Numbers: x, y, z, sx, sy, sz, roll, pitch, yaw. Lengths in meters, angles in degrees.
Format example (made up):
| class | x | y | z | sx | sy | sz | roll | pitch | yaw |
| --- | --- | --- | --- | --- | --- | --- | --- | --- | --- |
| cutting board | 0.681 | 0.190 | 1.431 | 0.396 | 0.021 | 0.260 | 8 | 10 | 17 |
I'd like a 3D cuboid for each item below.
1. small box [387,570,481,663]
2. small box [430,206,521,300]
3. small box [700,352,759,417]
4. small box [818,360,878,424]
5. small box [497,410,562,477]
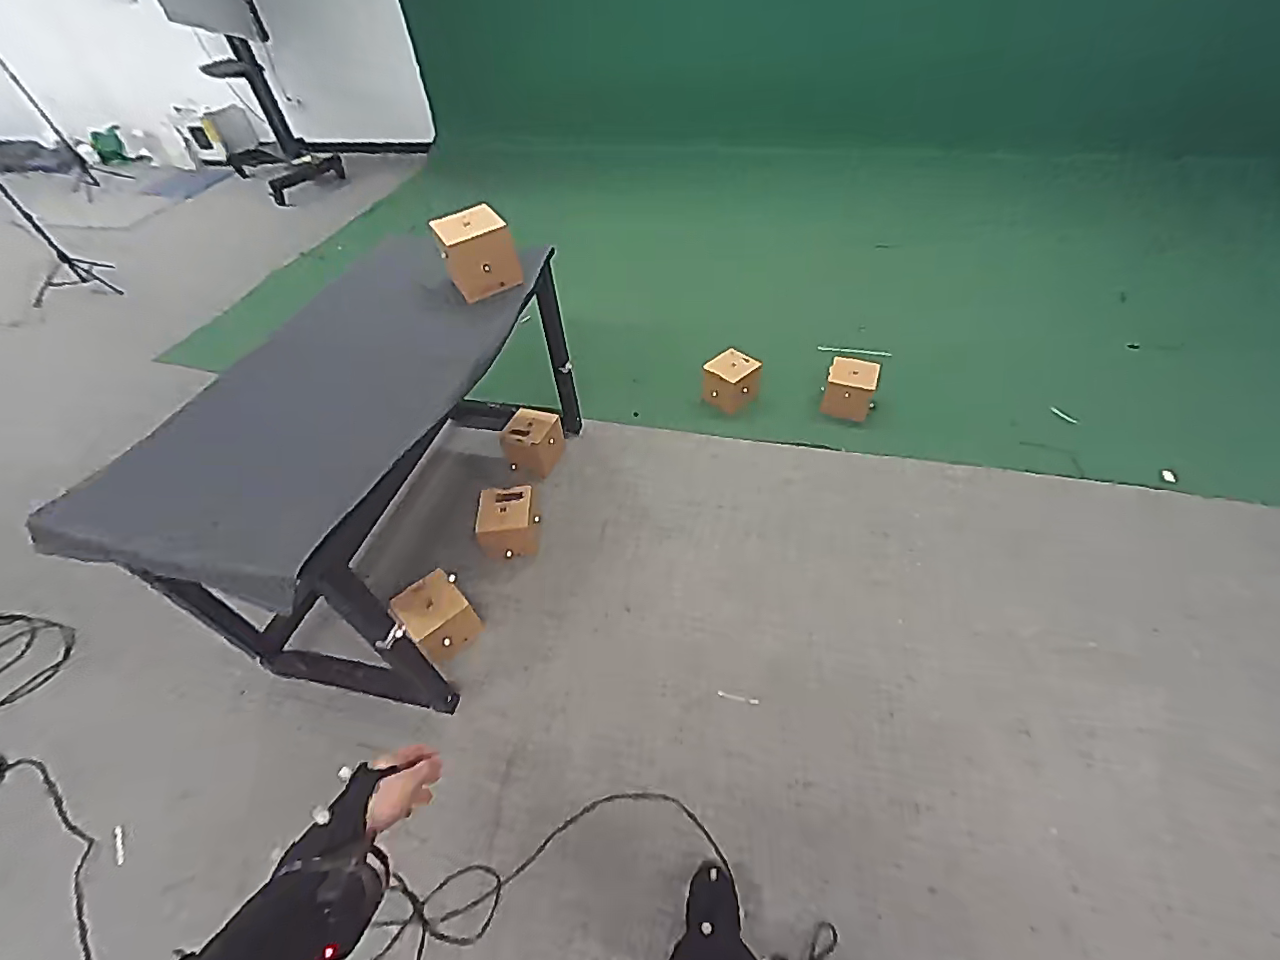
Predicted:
| class | x | y | z | sx | sy | sz | roll | pitch | yaw |
| --- | --- | --- | --- | --- | --- | --- | --- | --- | --- |
| small box | -0.589 | 0.403 | 1.562 | 0.168 | 0.176 | 0.179 | -37 | 55 | -25 |
| small box | -0.446 | -0.616 | 1.481 | 0.168 | 0.176 | 0.179 | -27 | 51 | -16 |
| small box | 0.364 | -0.388 | 2.206 | 0.179 | 0.176 | 0.168 | -36 | 54 | -24 |
| small box | 0.816 | -0.343 | 2.131 | 0.179 | 0.176 | 0.168 | 16 | 52 | 16 |
| small box | -0.406 | -0.134 | 2.032 | 0.168 | 0.176 | 0.179 | 13 | 49 | 15 |
